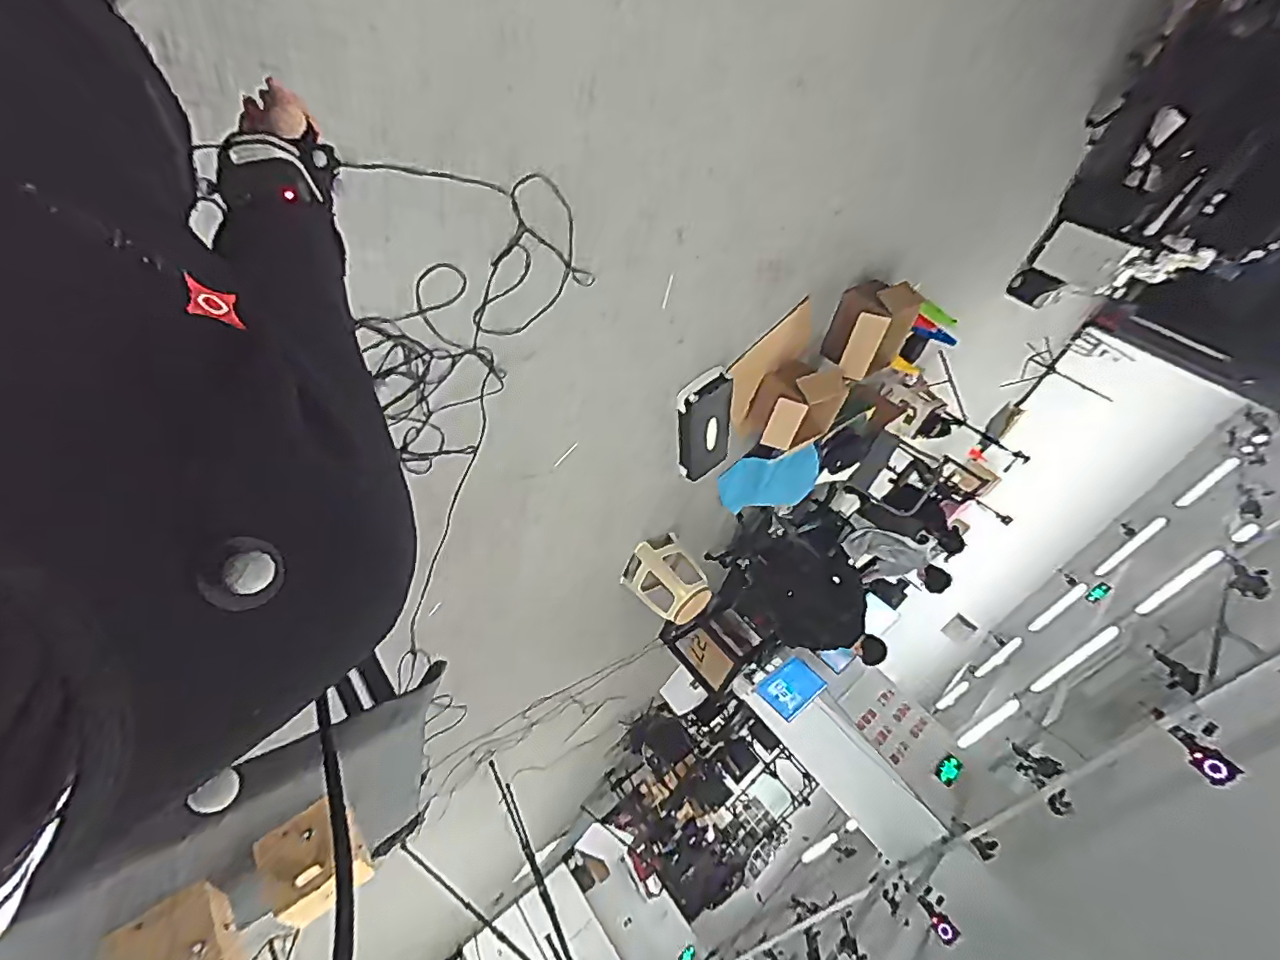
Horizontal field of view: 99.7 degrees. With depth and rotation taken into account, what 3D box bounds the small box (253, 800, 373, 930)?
[{"bbox_3d":[-0.734,0.863,1.222,0.168,0.176,0.179,-28,146,-30],"label":"small box"}]
